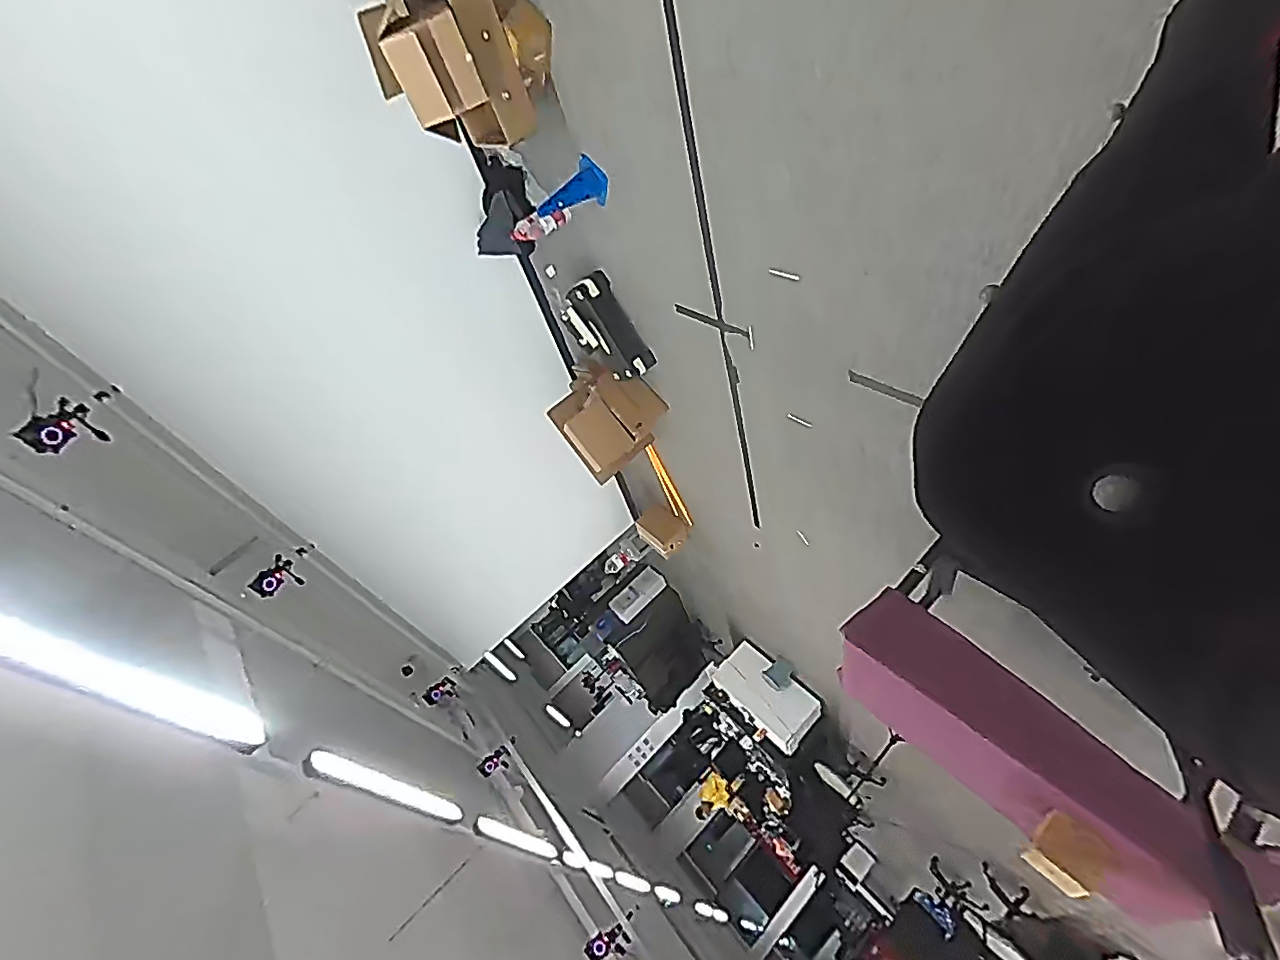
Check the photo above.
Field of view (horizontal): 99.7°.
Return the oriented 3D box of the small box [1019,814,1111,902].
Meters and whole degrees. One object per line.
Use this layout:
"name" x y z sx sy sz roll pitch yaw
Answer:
"small box" 1.408 1.252 1.794 0.168 0.176 0.179 35 157 38
